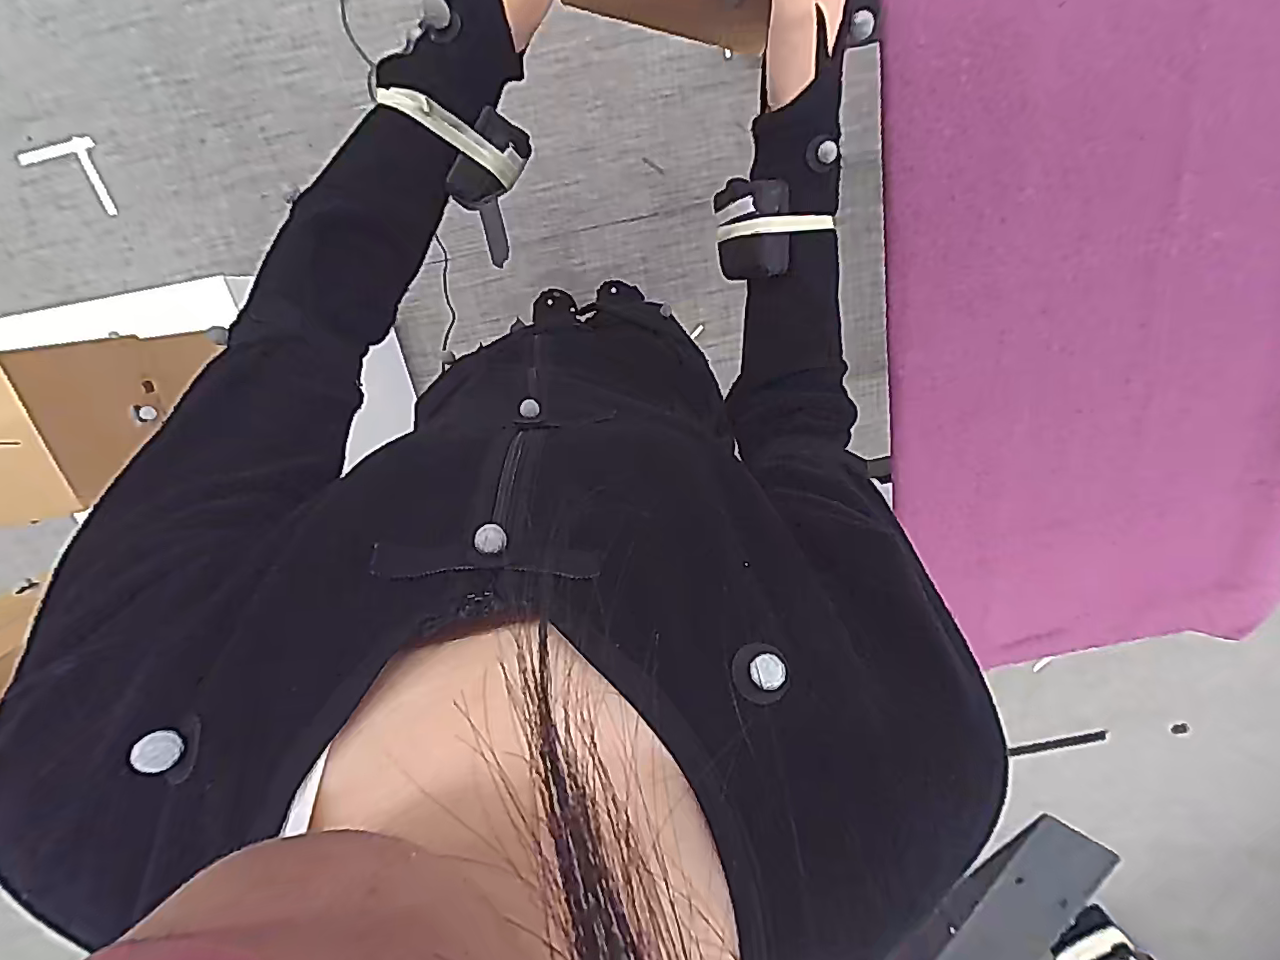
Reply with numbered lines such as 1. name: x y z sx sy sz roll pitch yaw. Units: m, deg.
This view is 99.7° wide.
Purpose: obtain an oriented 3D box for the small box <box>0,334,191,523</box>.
1. small box: -0.664 -0.060 0.594 0.179 0.176 0.168 -9 112 -1

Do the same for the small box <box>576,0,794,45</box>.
1. small box: 0.040 -0.418 0.347 0.179 0.176 0.168 11 112 -5
